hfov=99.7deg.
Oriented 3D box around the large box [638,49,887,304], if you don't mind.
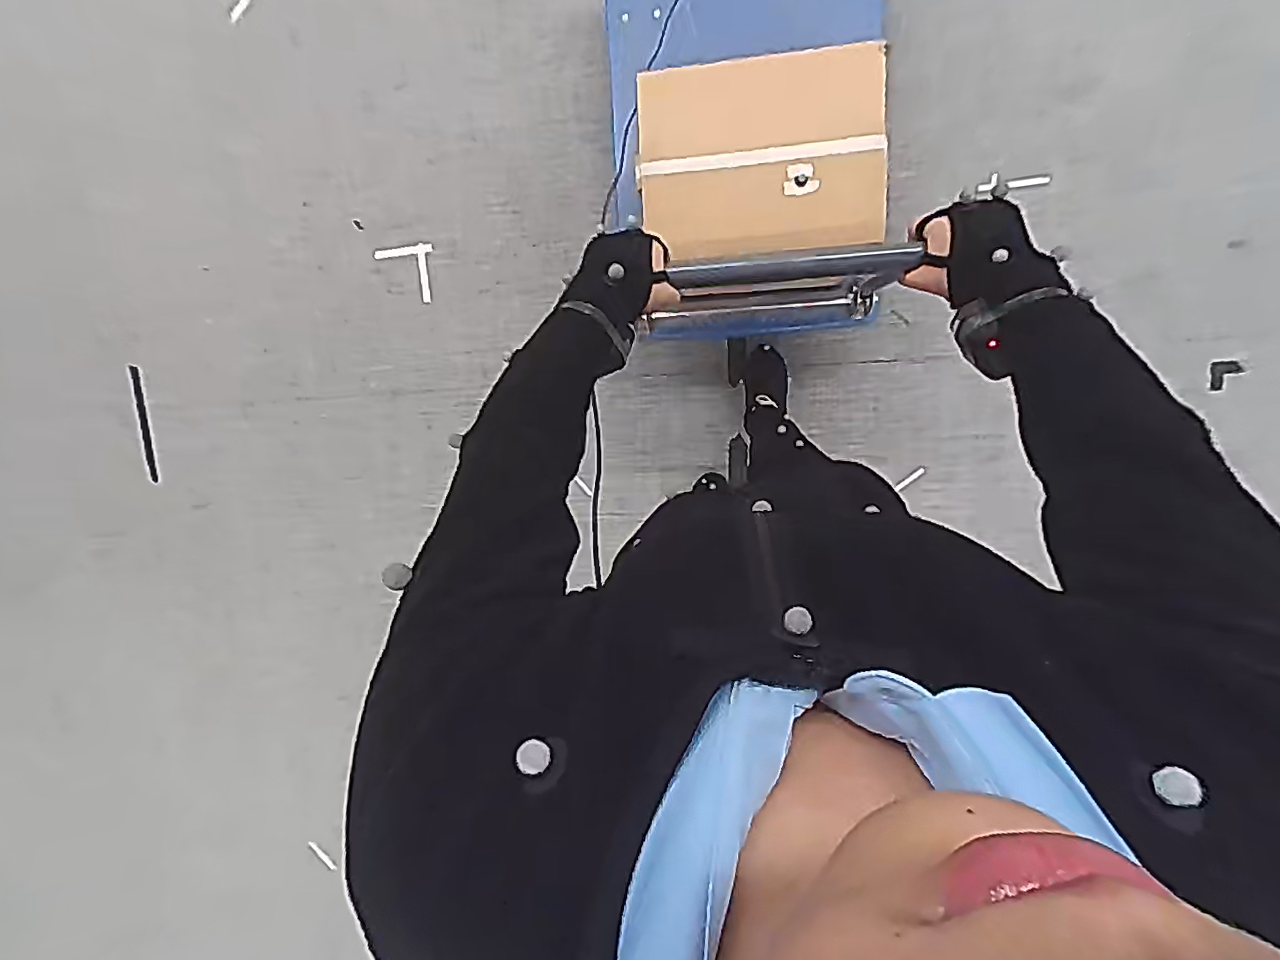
[{"bbox_3d":[0.217,-0.541,1.044,0.408,0.320,0.320,-2,98,7],"label":"large box"}]
